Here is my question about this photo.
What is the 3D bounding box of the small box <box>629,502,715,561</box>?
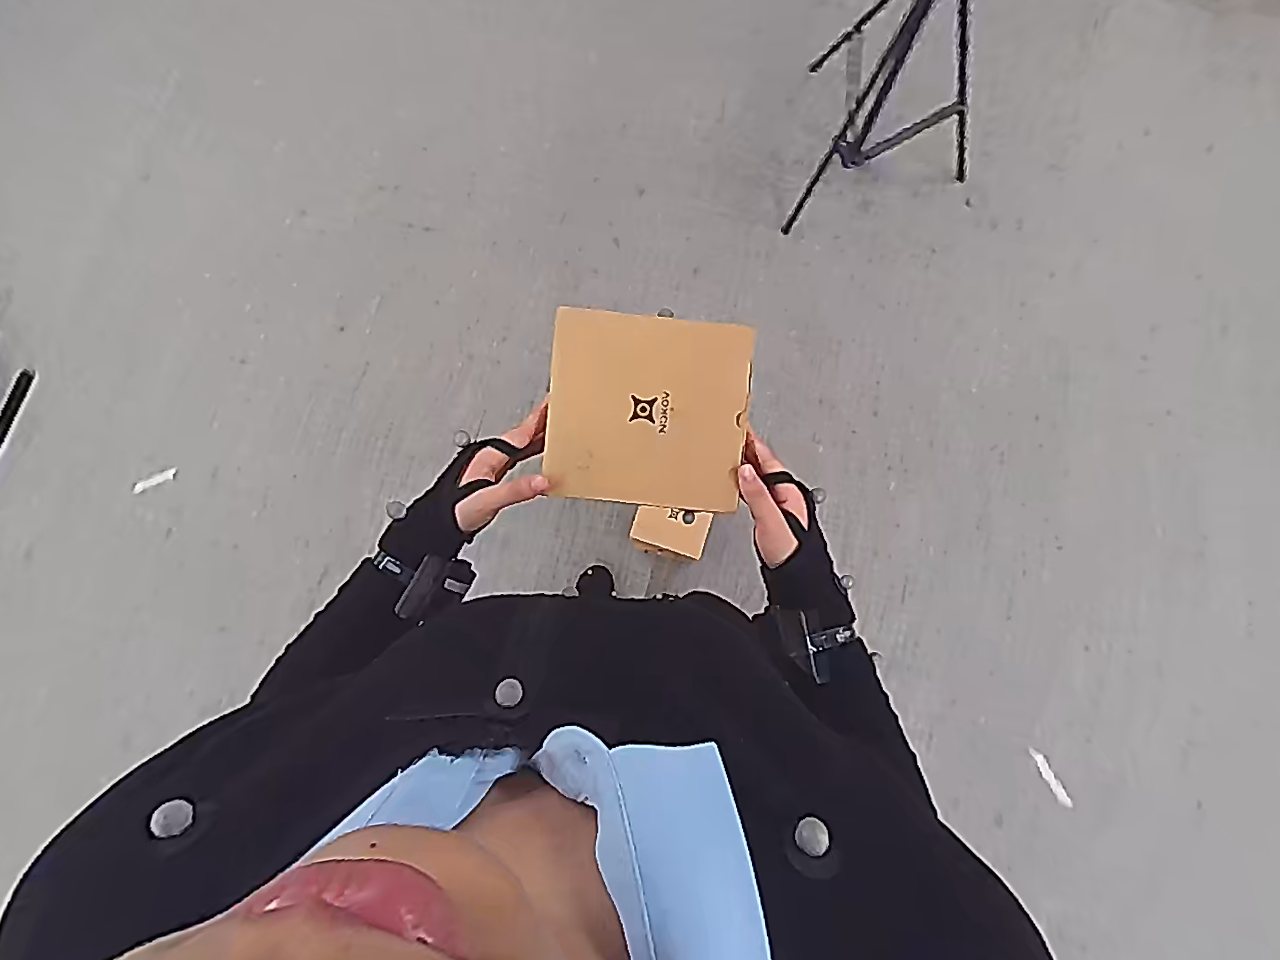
[{"bbox_3d":[0.082,0.086,1.286,0.168,0.176,0.179,19,80,4],"label":"small box"}]

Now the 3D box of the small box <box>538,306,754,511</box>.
[{"bbox_3d":[0.003,-0.062,0.545,0.179,0.176,0.168,5,91,-2],"label":"small box"}]
